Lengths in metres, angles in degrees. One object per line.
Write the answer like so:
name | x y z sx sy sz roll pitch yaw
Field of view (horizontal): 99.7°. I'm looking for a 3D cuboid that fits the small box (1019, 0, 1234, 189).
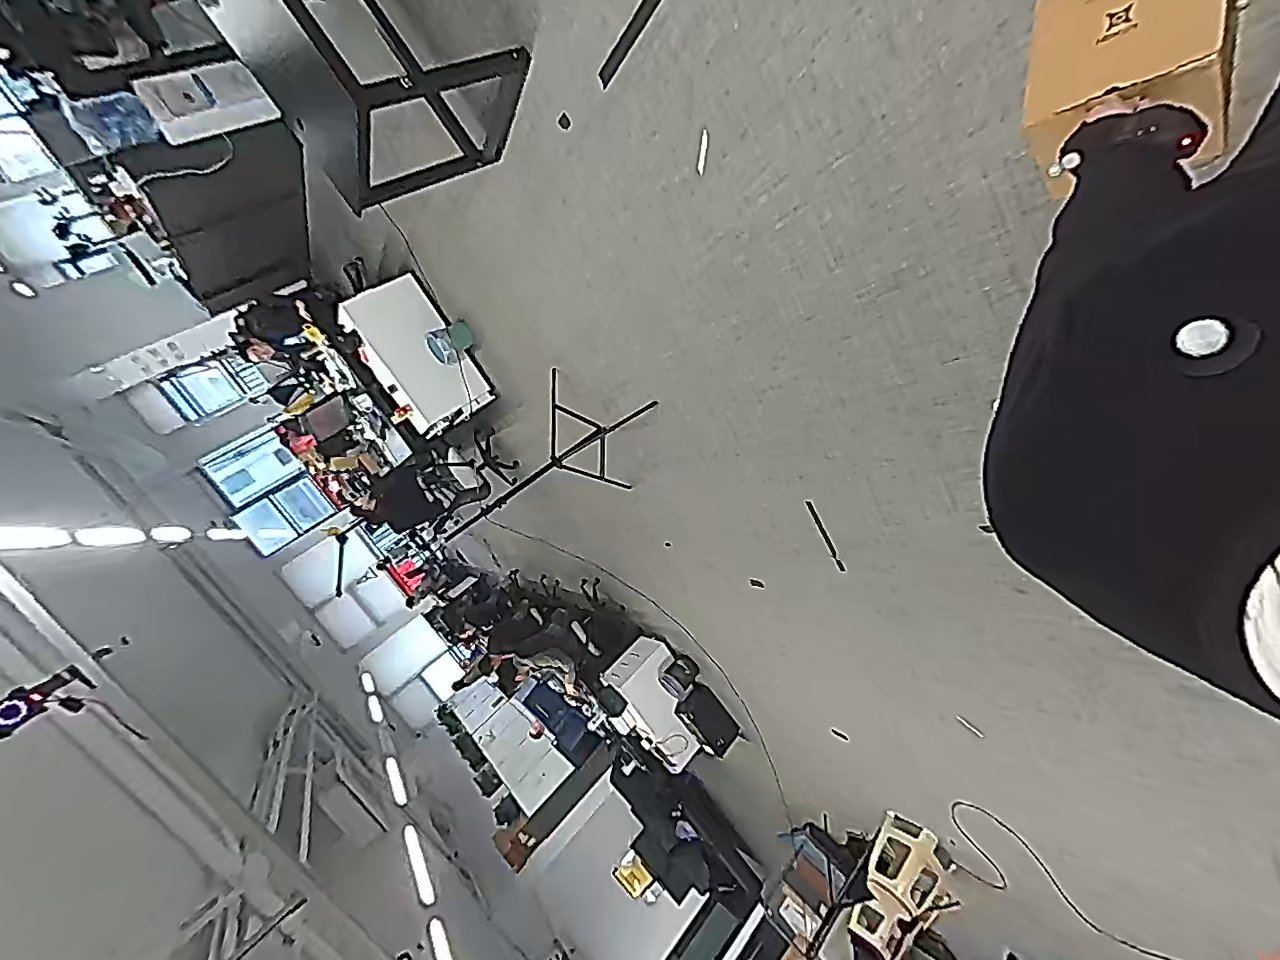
small box | 0.581 -0.481 0.645 0.176 0.179 0.168 16 173 -42
